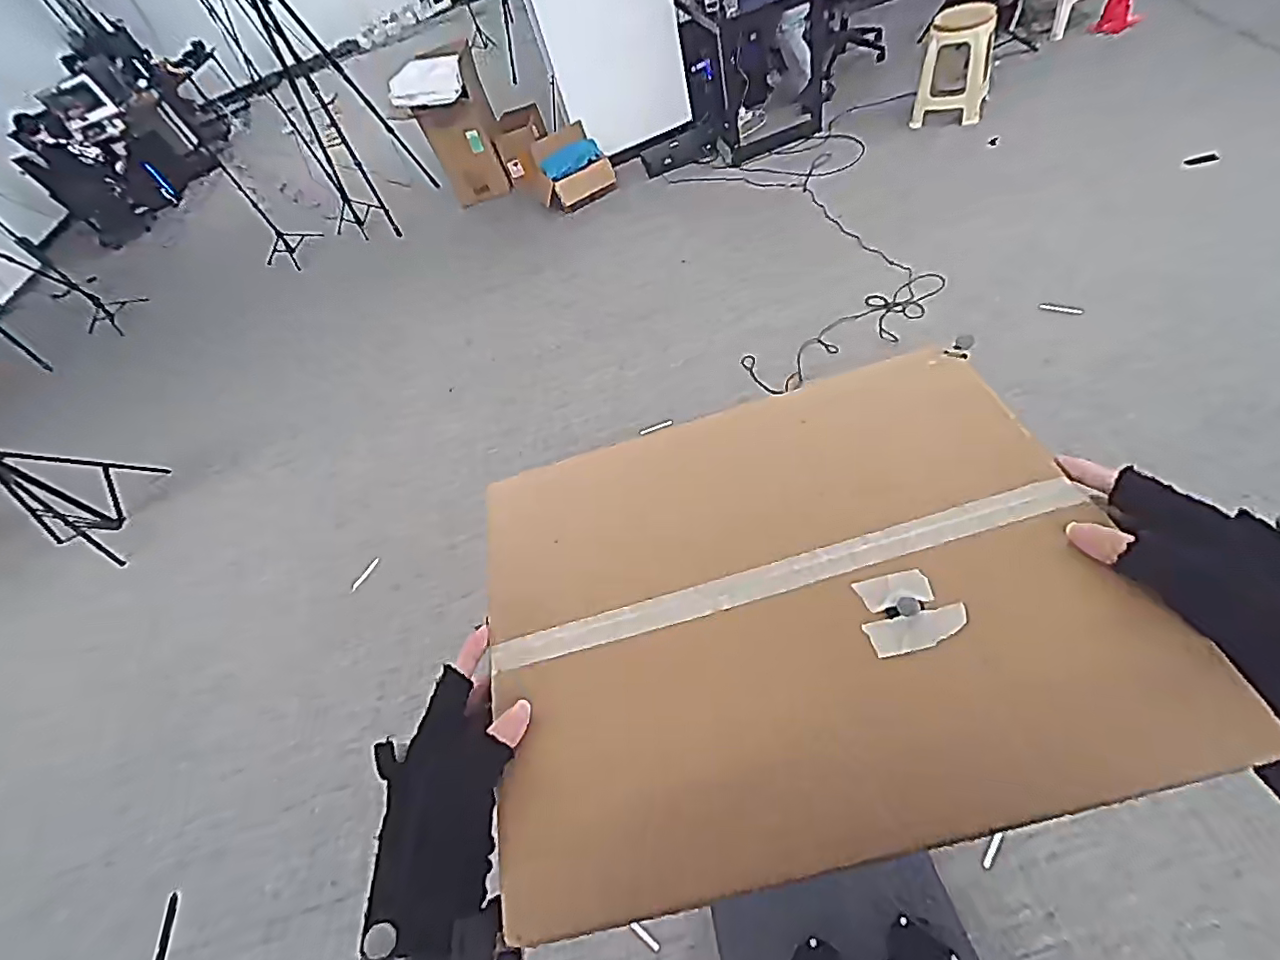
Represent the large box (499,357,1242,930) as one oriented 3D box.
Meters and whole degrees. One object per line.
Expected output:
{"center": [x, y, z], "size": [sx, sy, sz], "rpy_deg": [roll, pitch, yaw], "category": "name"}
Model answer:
{"center": [0.126, 0.155, 0.496], "size": [0.408, 0.320, 0.320], "rpy_deg": [-17, 54, 3], "category": "large box"}
